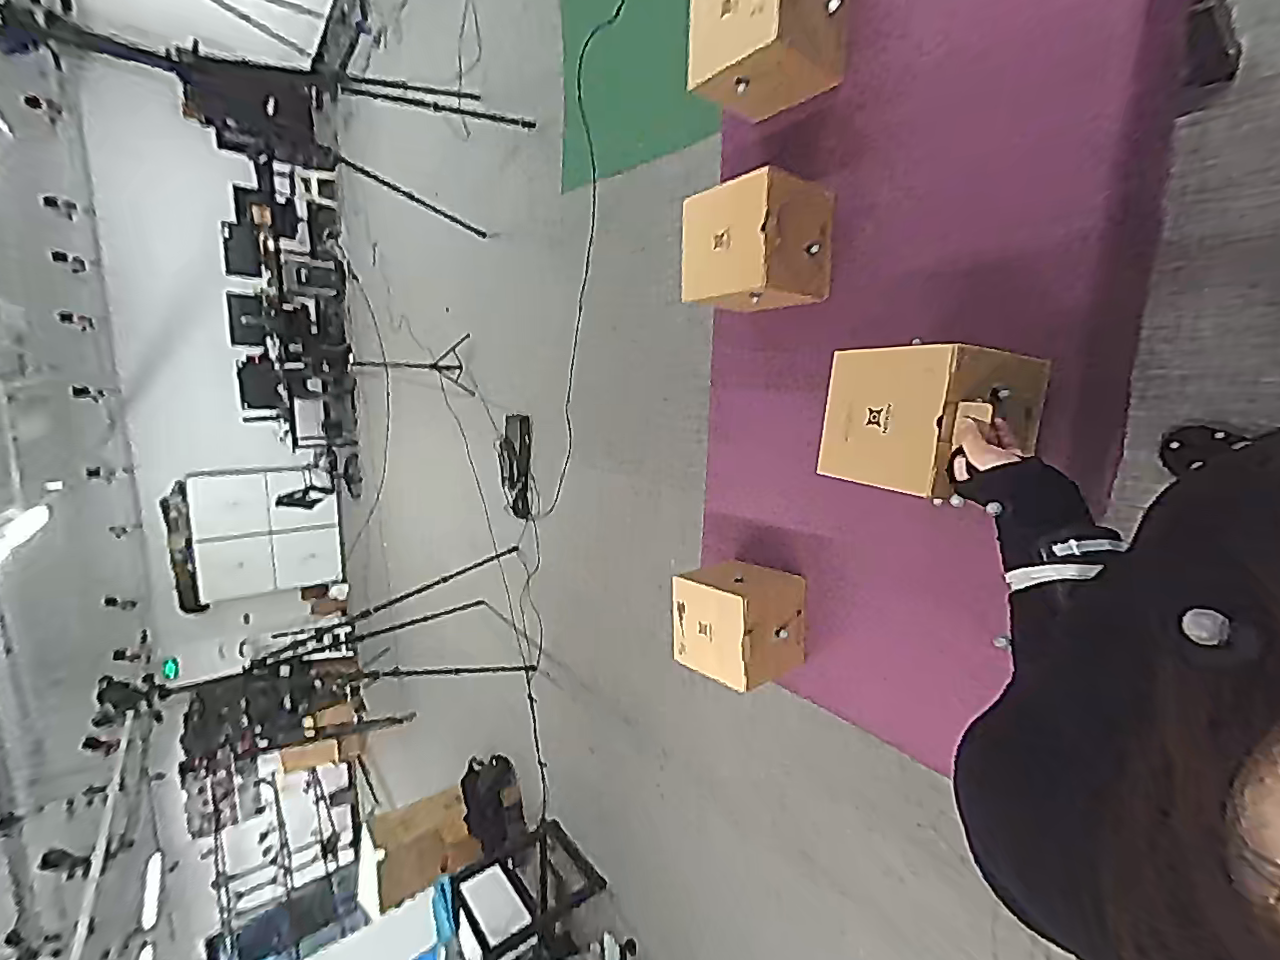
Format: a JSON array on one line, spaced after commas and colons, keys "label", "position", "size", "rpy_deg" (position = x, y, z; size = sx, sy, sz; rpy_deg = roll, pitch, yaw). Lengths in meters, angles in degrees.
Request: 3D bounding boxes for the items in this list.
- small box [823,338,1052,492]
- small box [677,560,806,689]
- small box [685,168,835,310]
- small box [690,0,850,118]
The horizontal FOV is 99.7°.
[{"label": "small box", "position": [0.364, -0.081, 0.675], "size": [0.179, 0.176, 0.168], "rpy_deg": [-156, 71, -65]}, {"label": "small box", "position": [0.189, 0.252, 0.996], "size": [0.179, 0.176, 0.168], "rpy_deg": [6, 100, 50]}, {"label": "small box", "position": [0.195, -0.382, 0.895], "size": [0.179, 0.176, 0.168], "rpy_deg": [10, 104, 50]}, {"label": "small box", "position": [0.198, -0.695, 0.835], "size": [0.179, 0.176, 0.168], "rpy_deg": [14, 108, 50]}]
